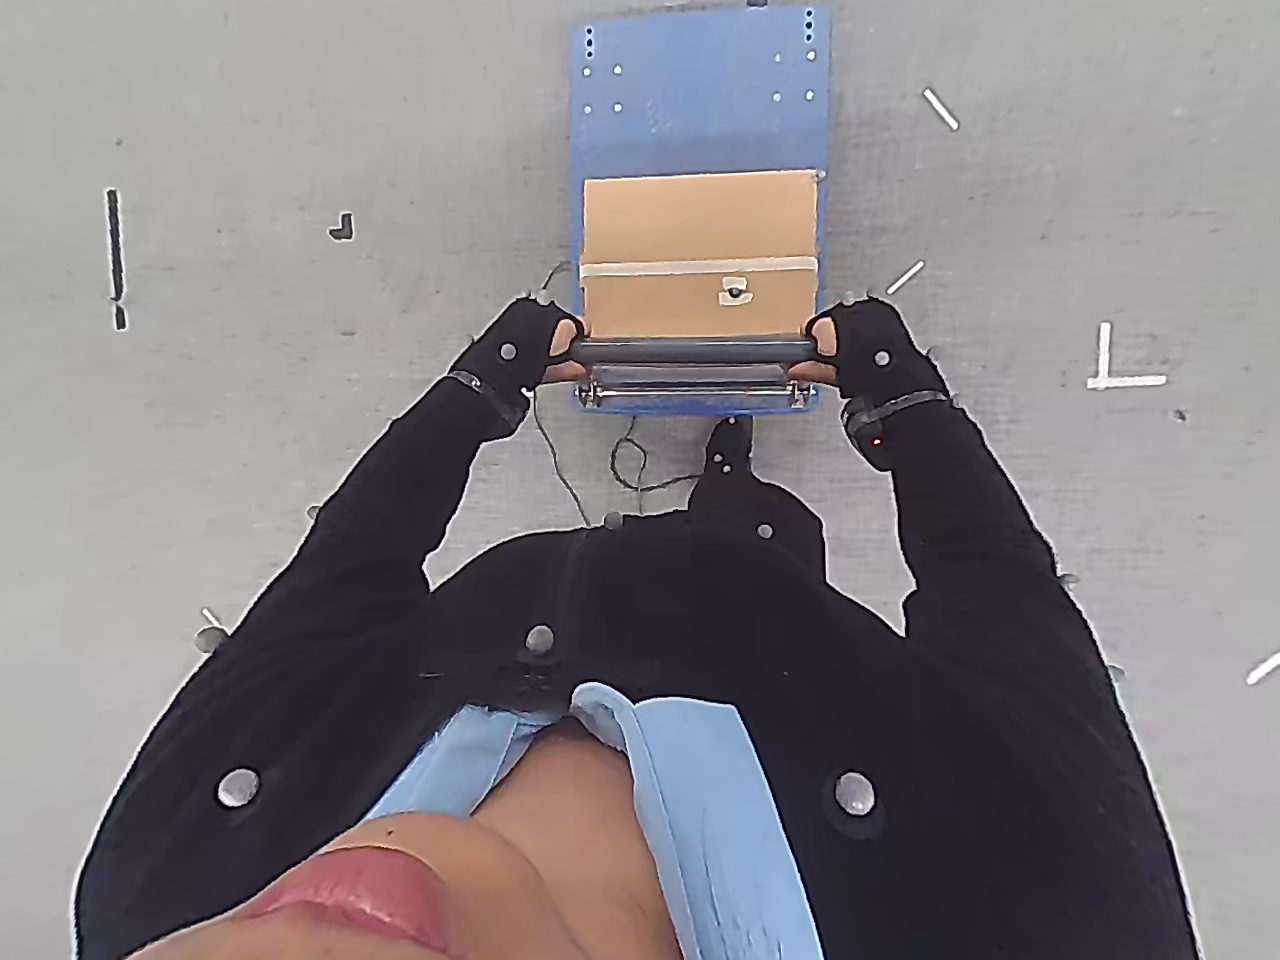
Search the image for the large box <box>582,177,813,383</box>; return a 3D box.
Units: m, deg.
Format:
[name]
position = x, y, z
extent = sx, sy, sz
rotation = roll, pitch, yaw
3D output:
[large box]
position = 0.110, -0.371, 1.094
extent = 0.408, 0.320, 0.320
rotation = 0, 96, 6
